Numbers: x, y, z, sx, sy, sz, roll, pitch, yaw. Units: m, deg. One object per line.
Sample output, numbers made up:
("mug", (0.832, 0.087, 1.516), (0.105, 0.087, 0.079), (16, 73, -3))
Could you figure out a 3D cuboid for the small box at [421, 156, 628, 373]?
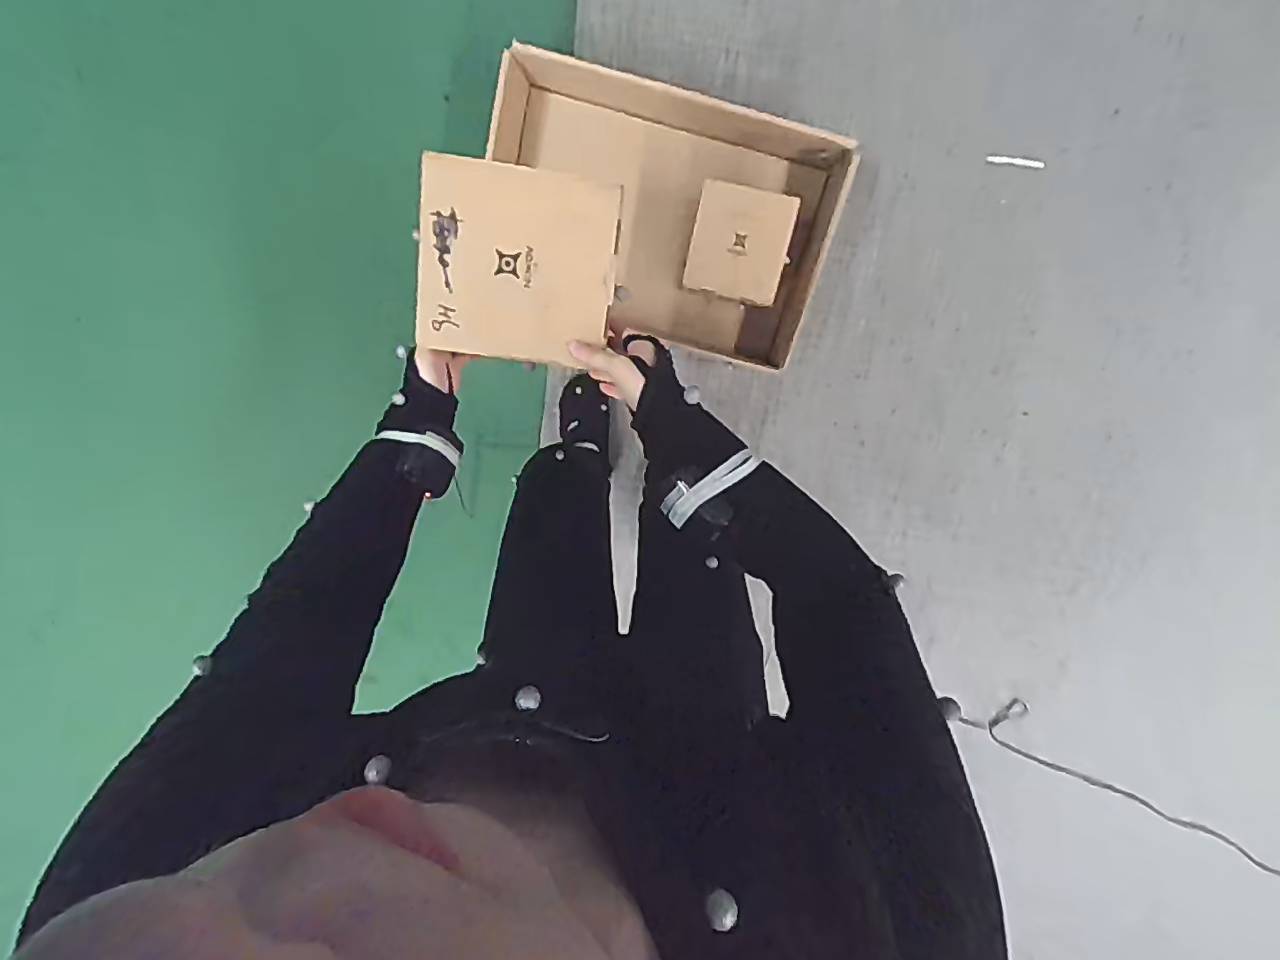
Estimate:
("small box", (-0.113, -0.211, 0.572), (0.179, 0.176, 0.168), (7, 102, -6))
